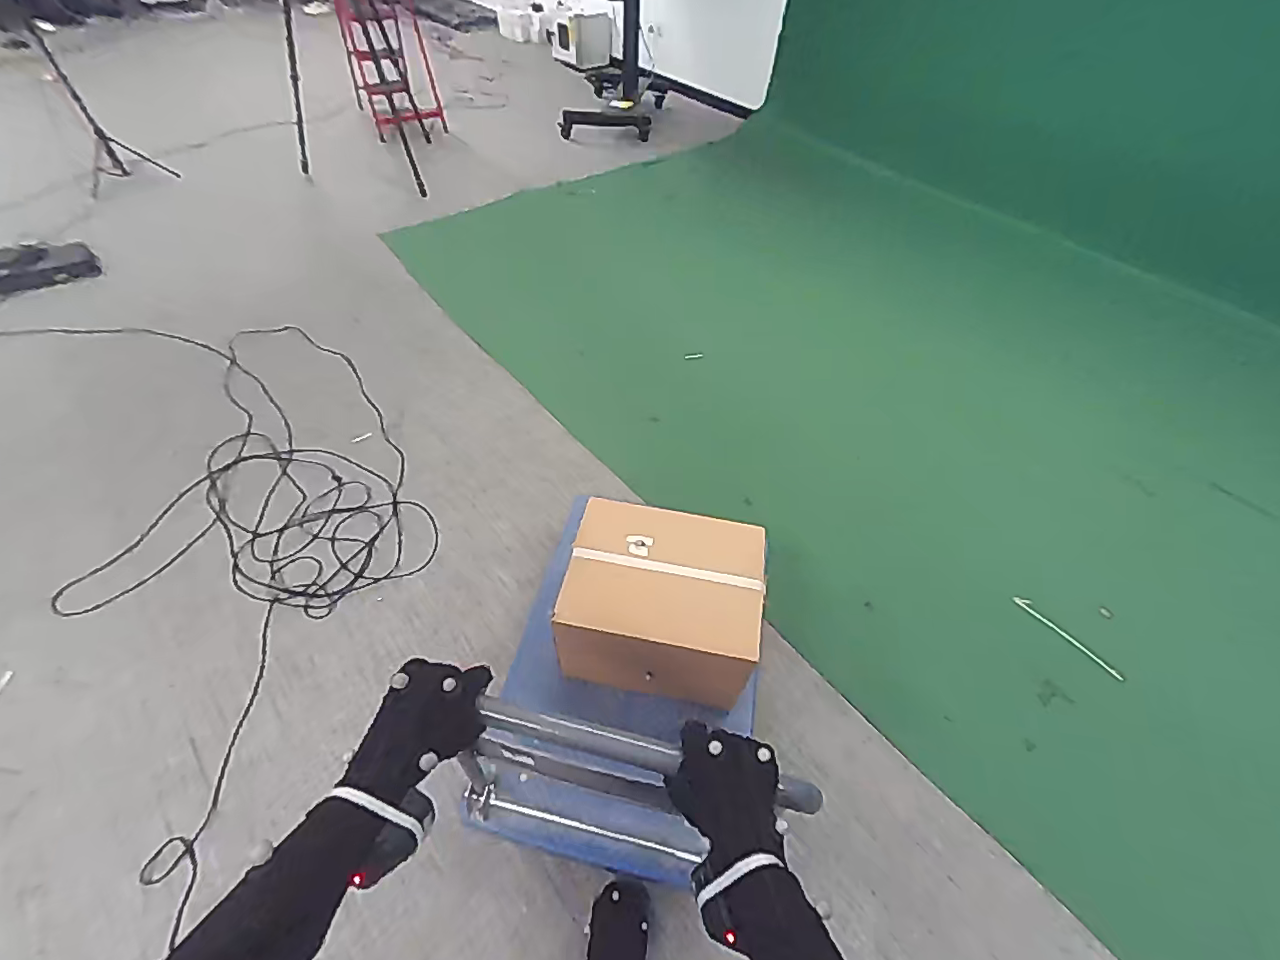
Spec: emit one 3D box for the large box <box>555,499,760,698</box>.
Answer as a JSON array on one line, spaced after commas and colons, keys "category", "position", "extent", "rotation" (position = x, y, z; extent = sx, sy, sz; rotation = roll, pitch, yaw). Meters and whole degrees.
[{"category": "large box", "position": [0.049, 0.279, 1.255], "extent": [0.408, 0.320, 0.320], "rotation": [9, 51, 5]}]
